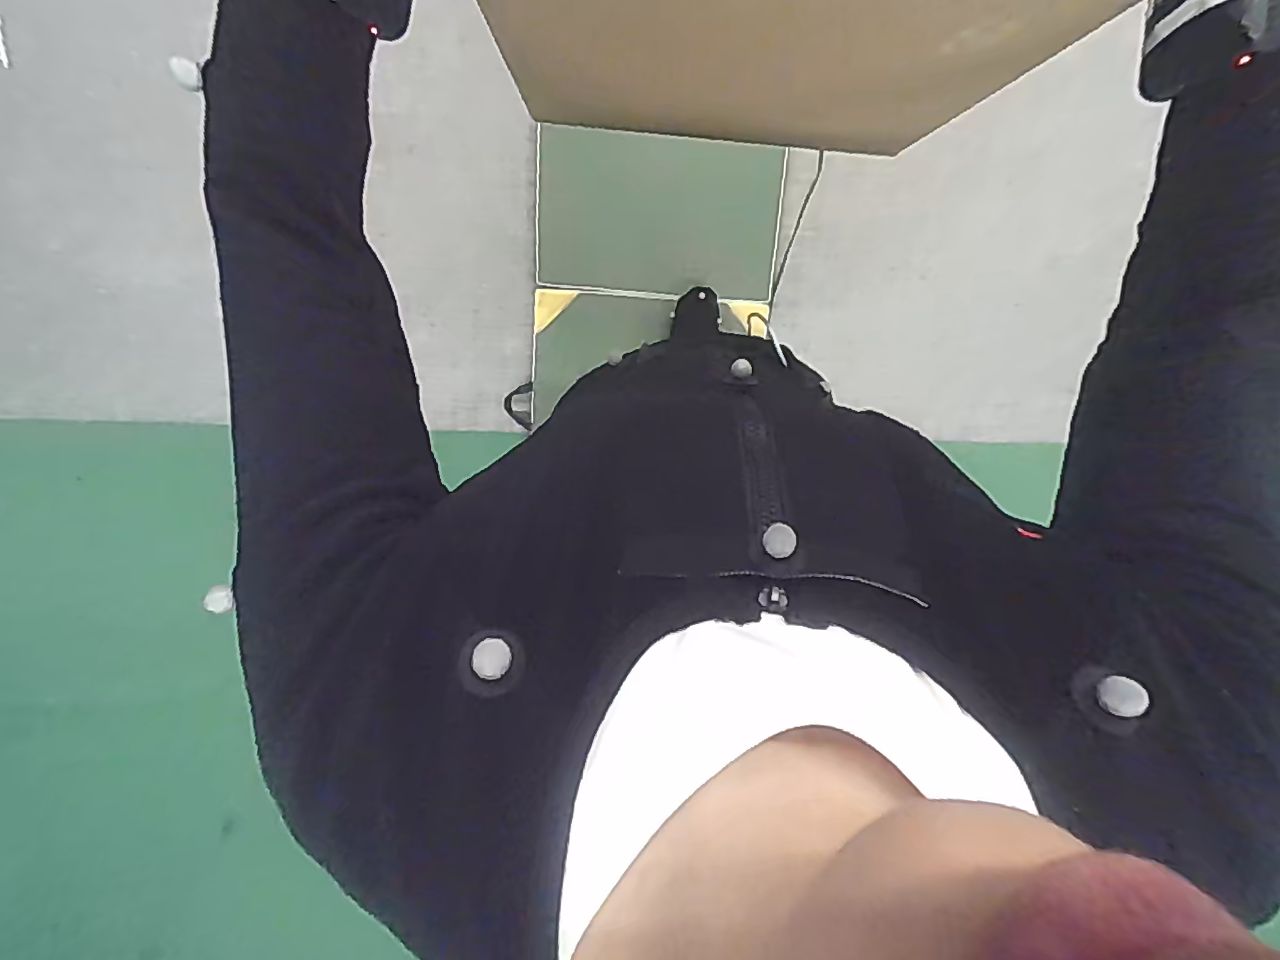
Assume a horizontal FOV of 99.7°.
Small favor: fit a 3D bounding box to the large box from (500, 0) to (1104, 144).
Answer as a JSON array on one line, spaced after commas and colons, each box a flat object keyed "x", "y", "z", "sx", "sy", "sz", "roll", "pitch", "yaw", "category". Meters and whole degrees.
[{"x": 0.101, "y": -0.486, "z": 0.412, "sx": 0.408, "sy": 0.320, "sz": 0.320, "roll": 3, "pitch": 107, "yaw": -3, "category": "large box"}]
